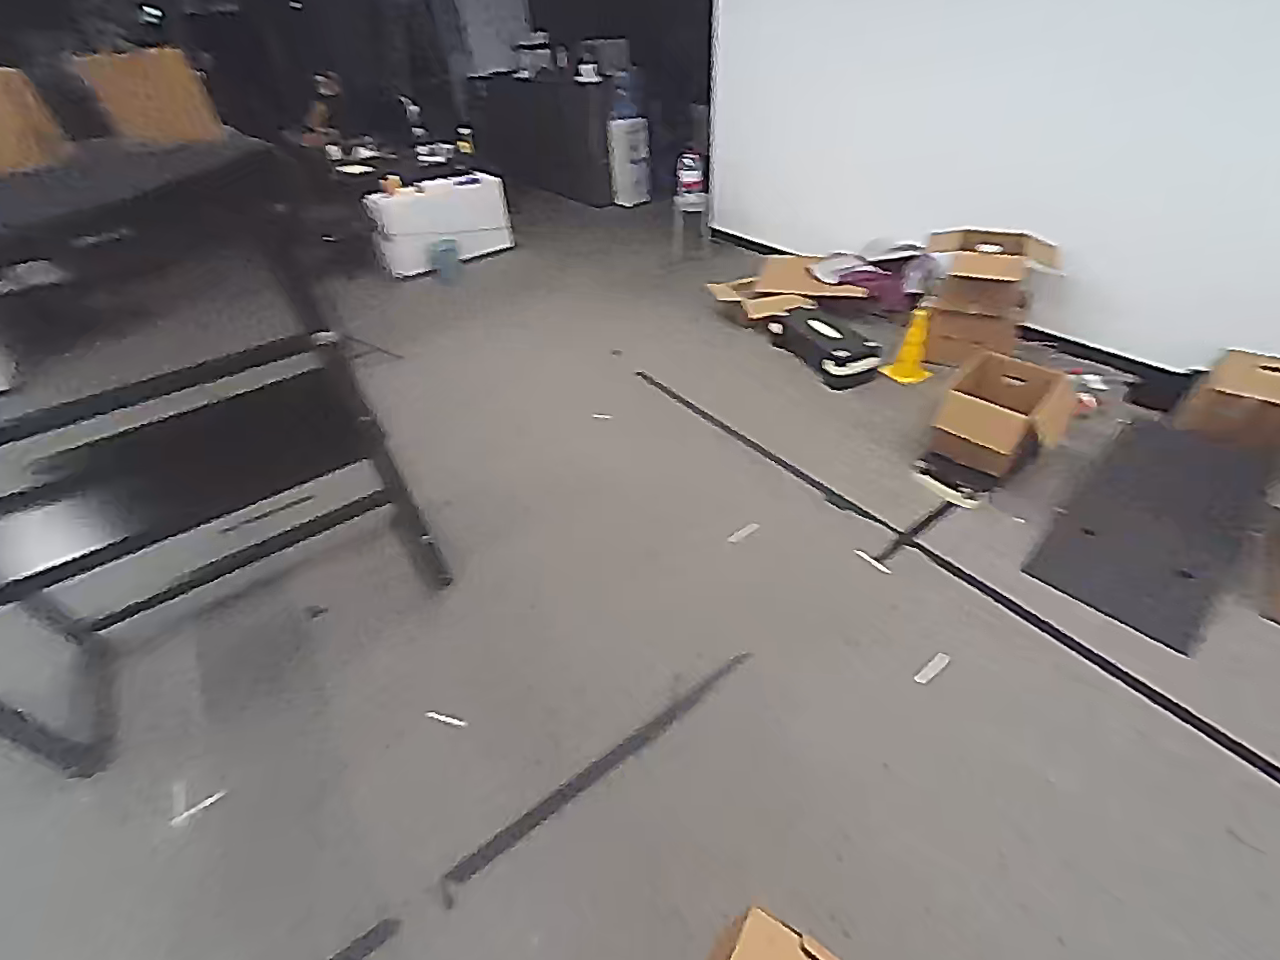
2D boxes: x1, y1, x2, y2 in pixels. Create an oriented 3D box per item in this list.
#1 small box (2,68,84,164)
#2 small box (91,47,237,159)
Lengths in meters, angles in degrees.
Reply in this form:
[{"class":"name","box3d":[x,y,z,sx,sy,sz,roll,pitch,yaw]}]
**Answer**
[{"class":"small box","box3d":[-1.380,-0.790,1.186,0.168,0.176,0.179,-28,45,-24]},{"class":"small box","box3d":[-0.973,-0.779,1.124,0.168,0.176,0.179,-26,41,-22]}]
